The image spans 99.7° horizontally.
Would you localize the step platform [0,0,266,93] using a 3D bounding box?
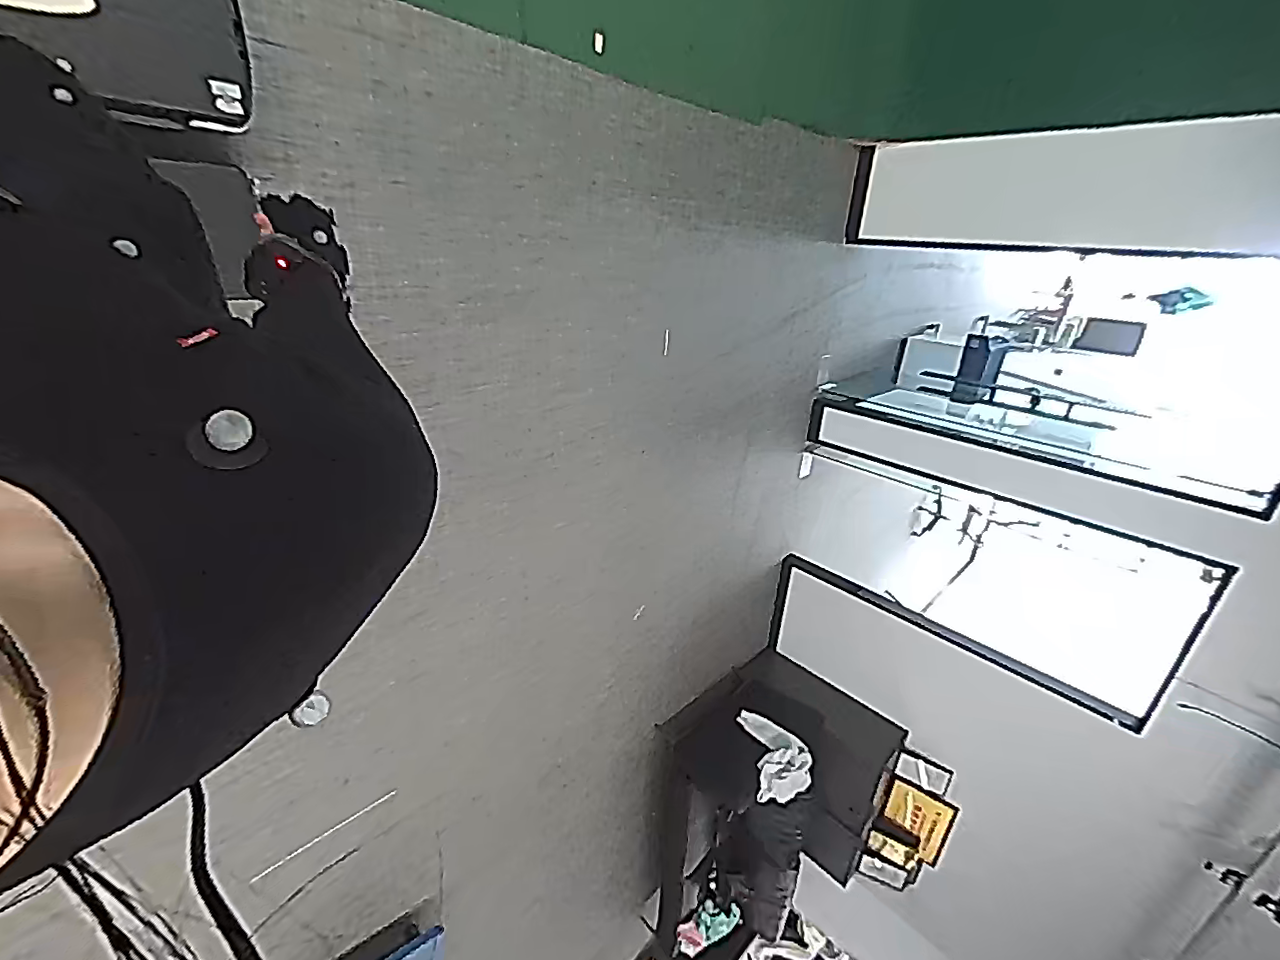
[{"bbox_3d":[-0.905,-0.730,0.686,0.684,0.204,0.286,-19,123,-41],"label":"step platform"}]
